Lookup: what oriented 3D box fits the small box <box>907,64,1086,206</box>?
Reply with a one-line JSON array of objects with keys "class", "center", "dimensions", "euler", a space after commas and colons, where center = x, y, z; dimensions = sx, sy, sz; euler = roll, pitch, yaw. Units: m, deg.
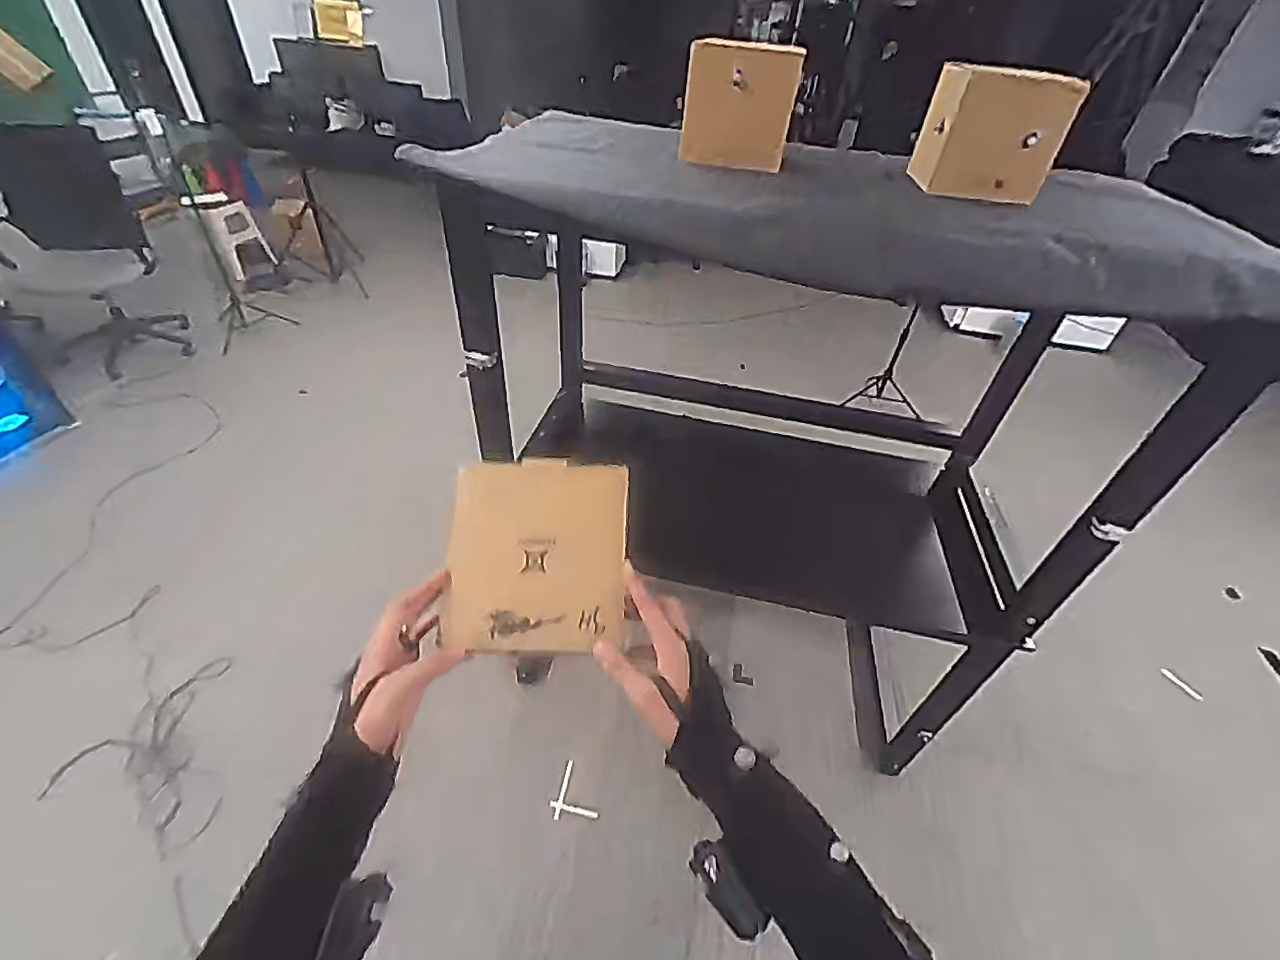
[{"class": "small box", "center": [0.566, -0.566, 0.889], "dimensions": [0.168, 0.176, 0.179], "euler": [10, 42, 5]}]

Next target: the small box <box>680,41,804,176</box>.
[{"class": "small box", "center": [0.175, -0.642, 0.937], "dimensions": [0.179, 0.176, 0.168], "euler": [11, 42, 8]}]
